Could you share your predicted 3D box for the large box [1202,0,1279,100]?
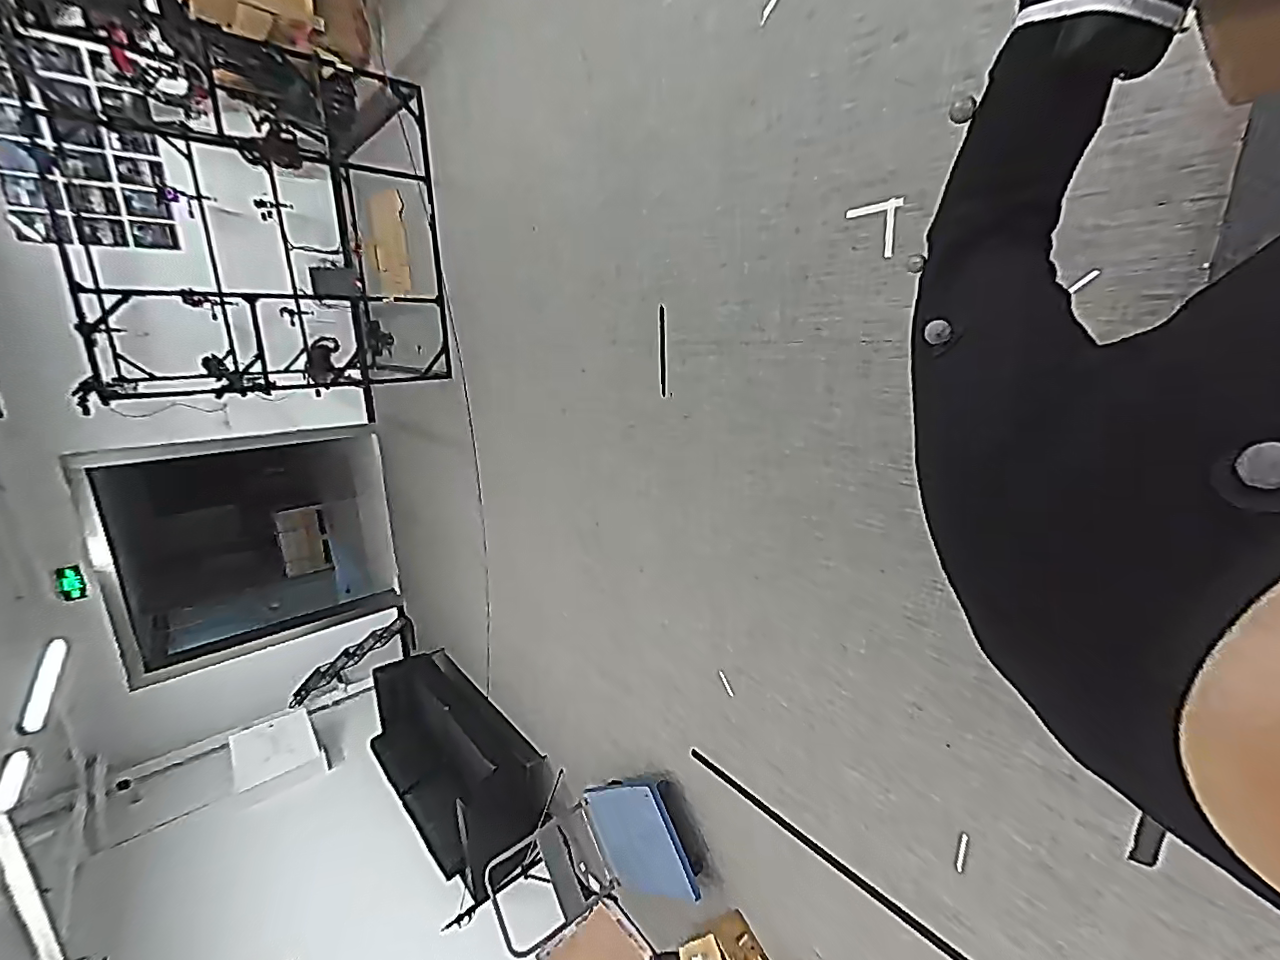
[{"bbox_3d":[0.559,-0.450,0.234,0.408,0.320,0.320,14,109,49],"label":"large box"}]
